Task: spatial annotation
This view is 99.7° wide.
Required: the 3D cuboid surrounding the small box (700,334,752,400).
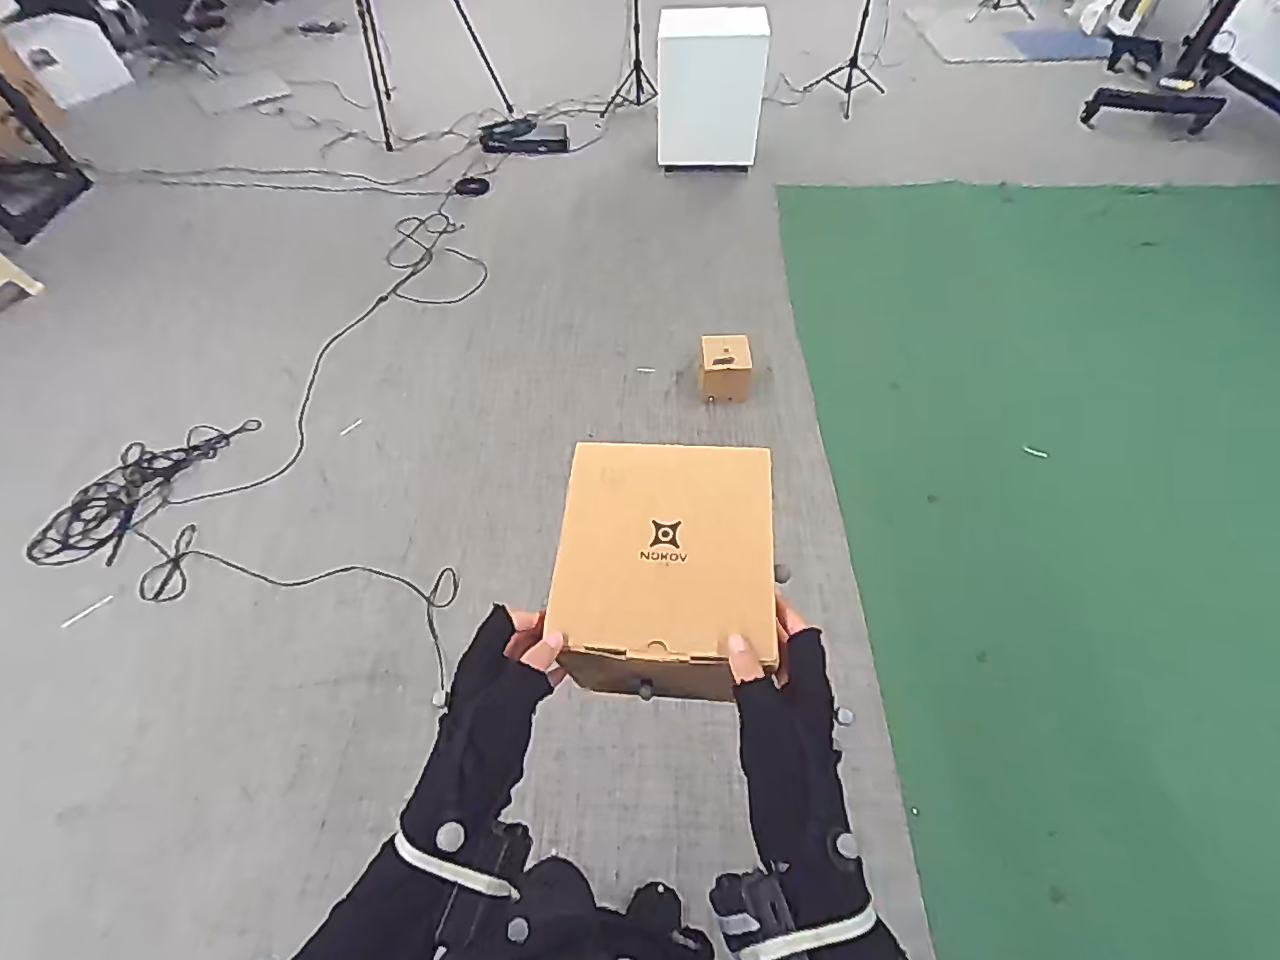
[{"bbox_3d":[0.306,-0.402,1.947,0.168,0.176,0.179,-1,55,1],"label":"small box"}]
